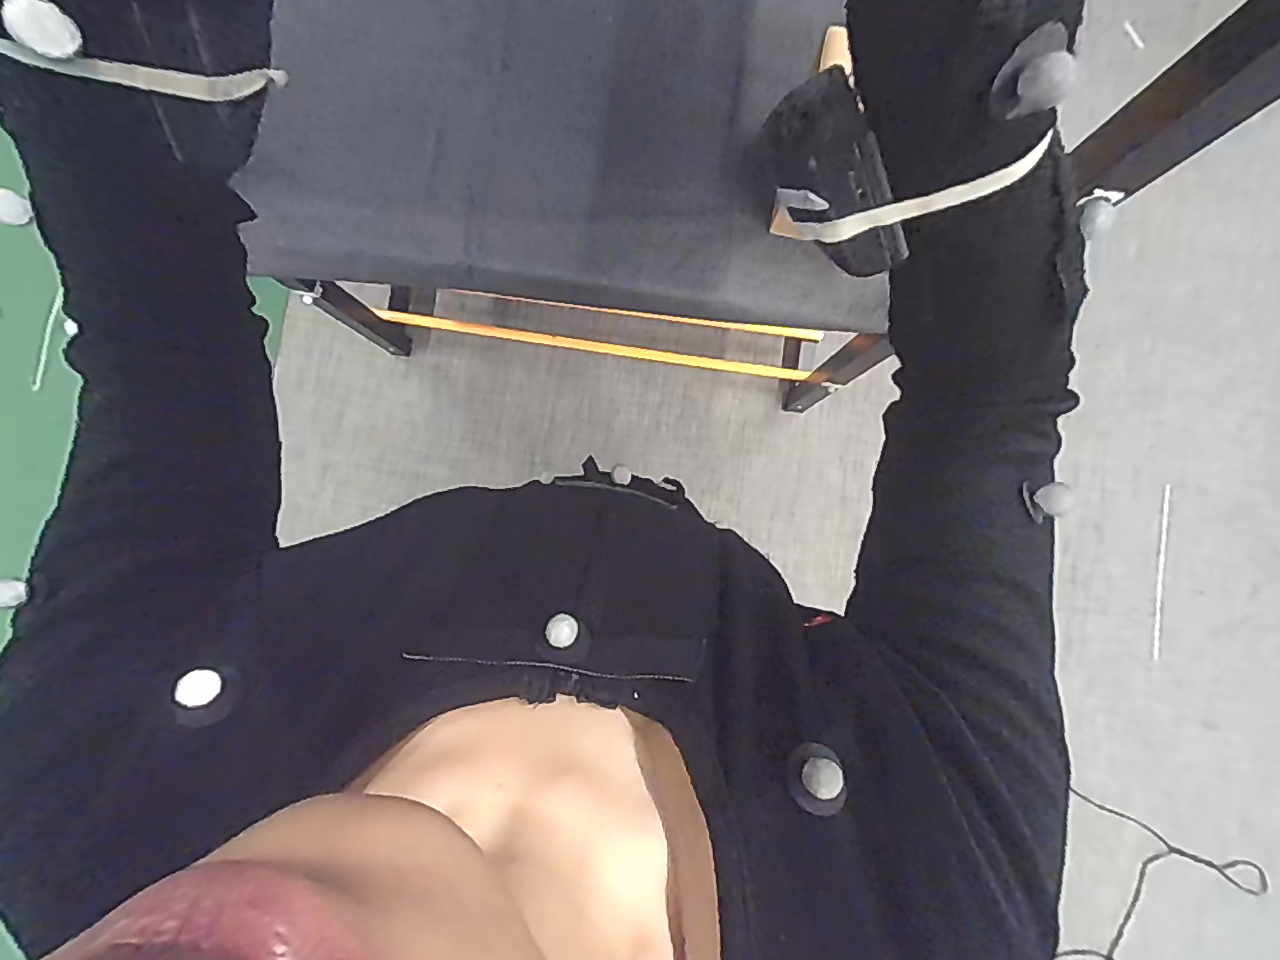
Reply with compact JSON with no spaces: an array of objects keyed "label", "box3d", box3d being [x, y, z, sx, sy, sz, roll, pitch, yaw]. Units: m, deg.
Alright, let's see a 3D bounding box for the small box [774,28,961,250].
[{"label":"small box","box3d":[0.288,-0.437,0.722,0.168,0.176,0.179,12,86,0]}]
